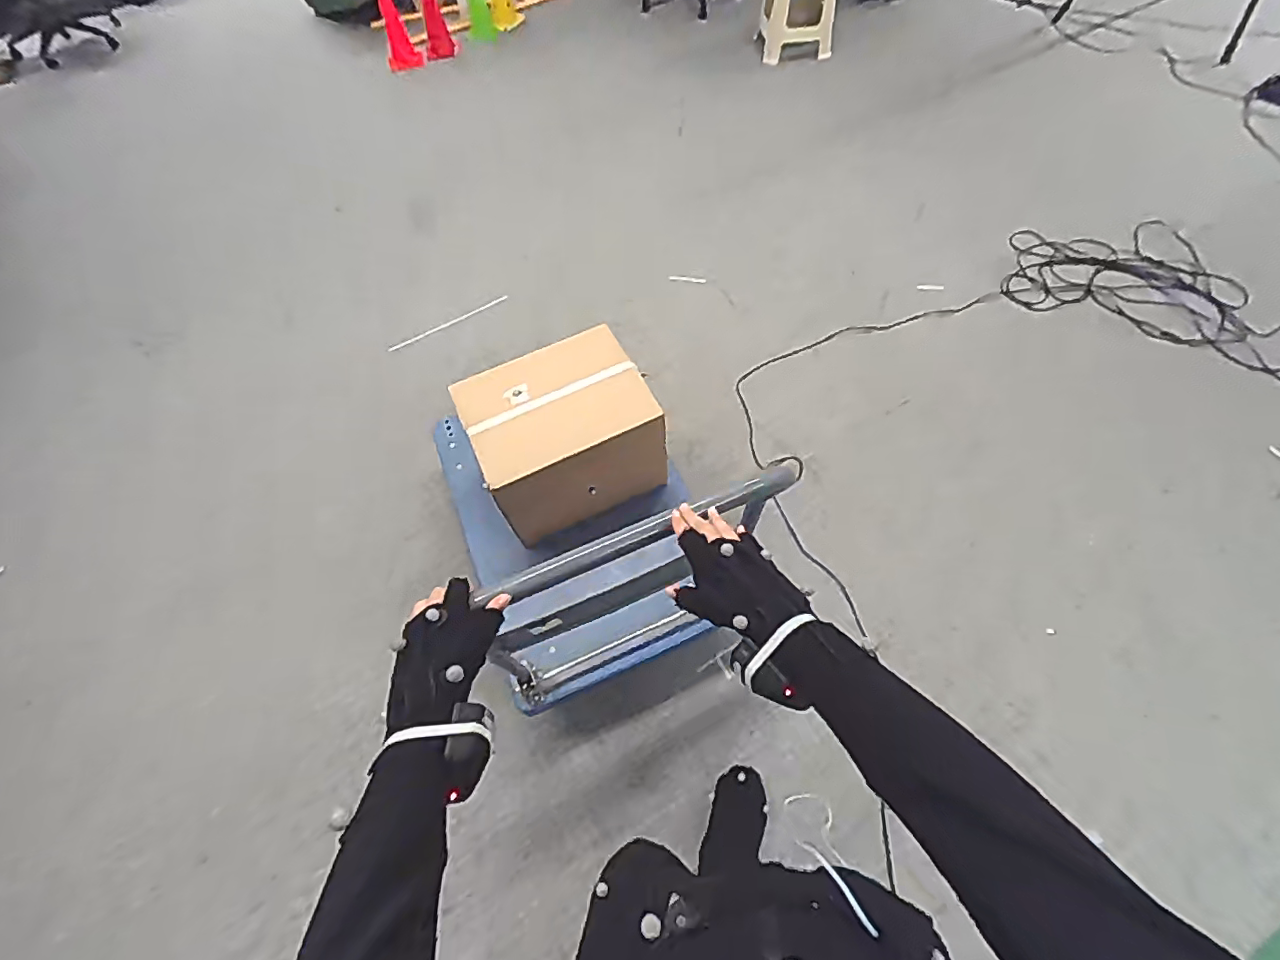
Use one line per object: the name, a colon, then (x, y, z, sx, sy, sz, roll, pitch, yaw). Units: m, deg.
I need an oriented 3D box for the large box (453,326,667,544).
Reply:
large box: (-0.180, -0.103, 1.343, 0.408, 0.320, 0.320, -26, 61, -9)
